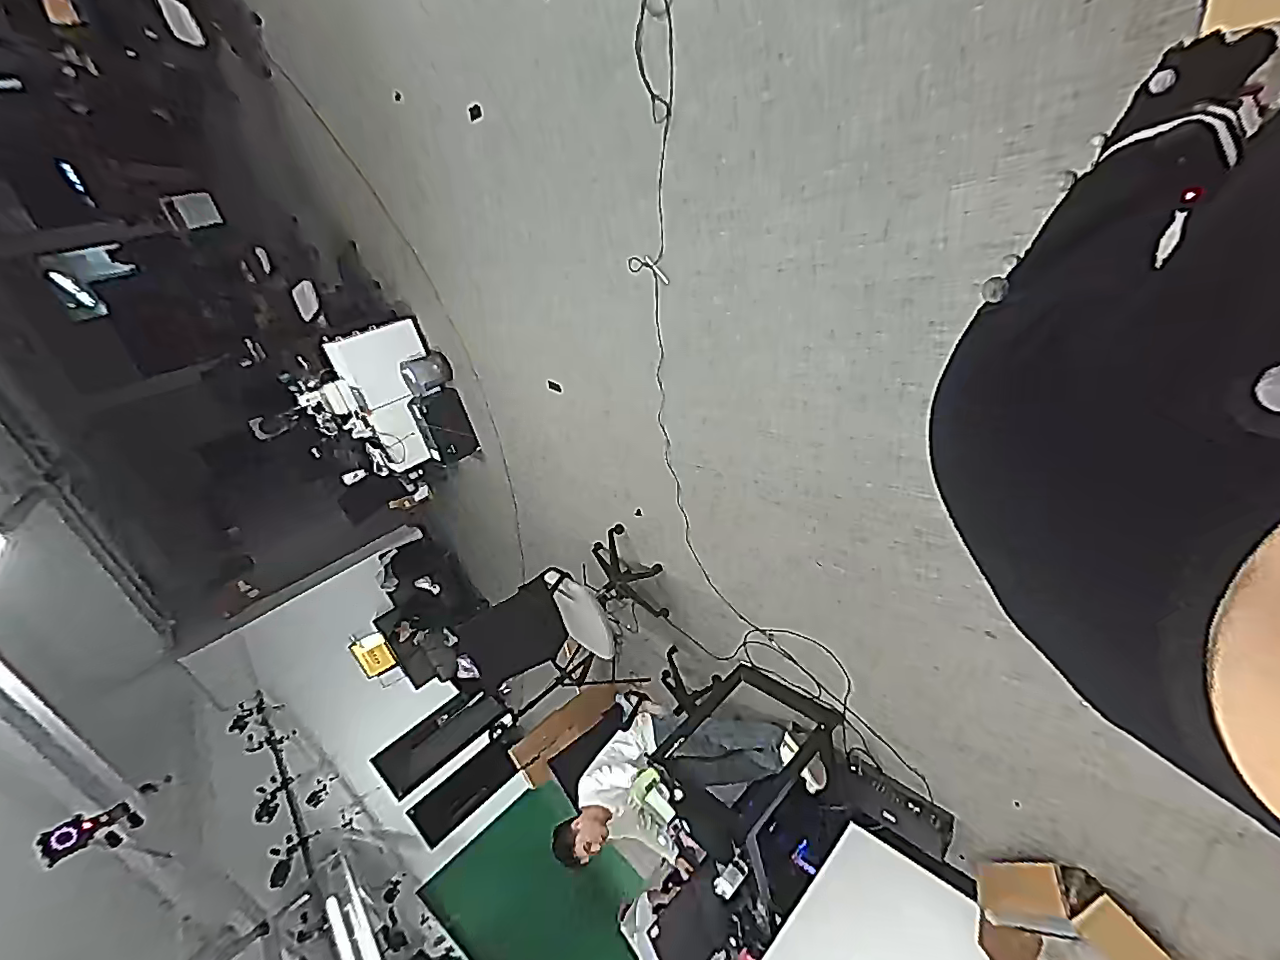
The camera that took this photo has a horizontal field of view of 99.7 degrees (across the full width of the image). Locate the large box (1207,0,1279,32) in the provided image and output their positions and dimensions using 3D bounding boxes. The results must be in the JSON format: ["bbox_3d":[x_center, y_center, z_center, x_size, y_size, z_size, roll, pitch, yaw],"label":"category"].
[{"bbox_3d":[0.959,-0.749,0.591,0.408,0.320,0.320,19,132,44],"label":"large box"}]
